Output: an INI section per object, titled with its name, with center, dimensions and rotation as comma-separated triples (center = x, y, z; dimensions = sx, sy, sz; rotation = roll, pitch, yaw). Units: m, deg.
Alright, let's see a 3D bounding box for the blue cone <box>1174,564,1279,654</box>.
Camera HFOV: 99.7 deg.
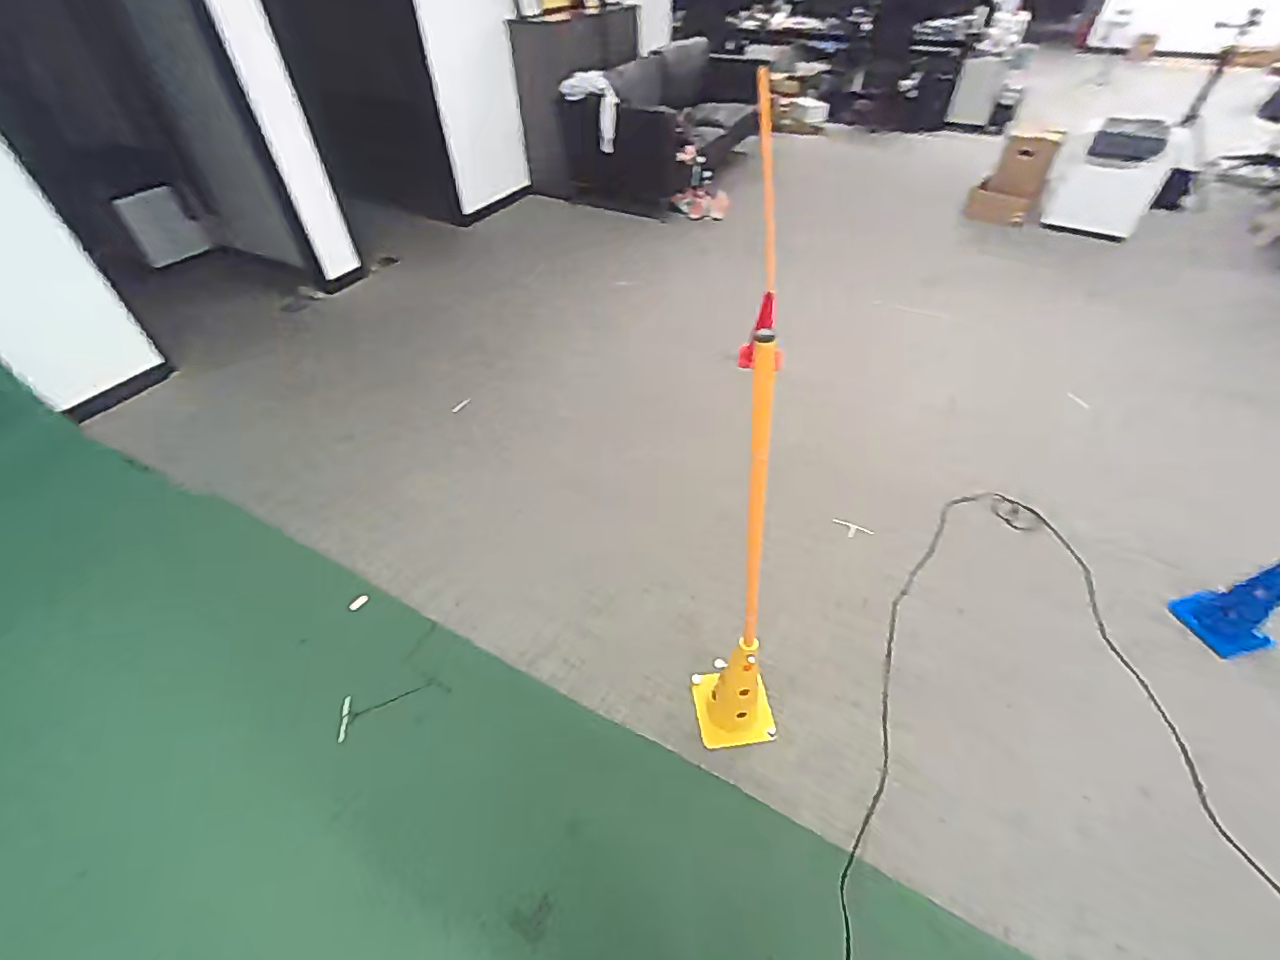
[blue cone]
center = 1.759, 0.305, 1.524
dimensions = 0.193, 0.380, 0.192
rotation = -11, 45, -12
